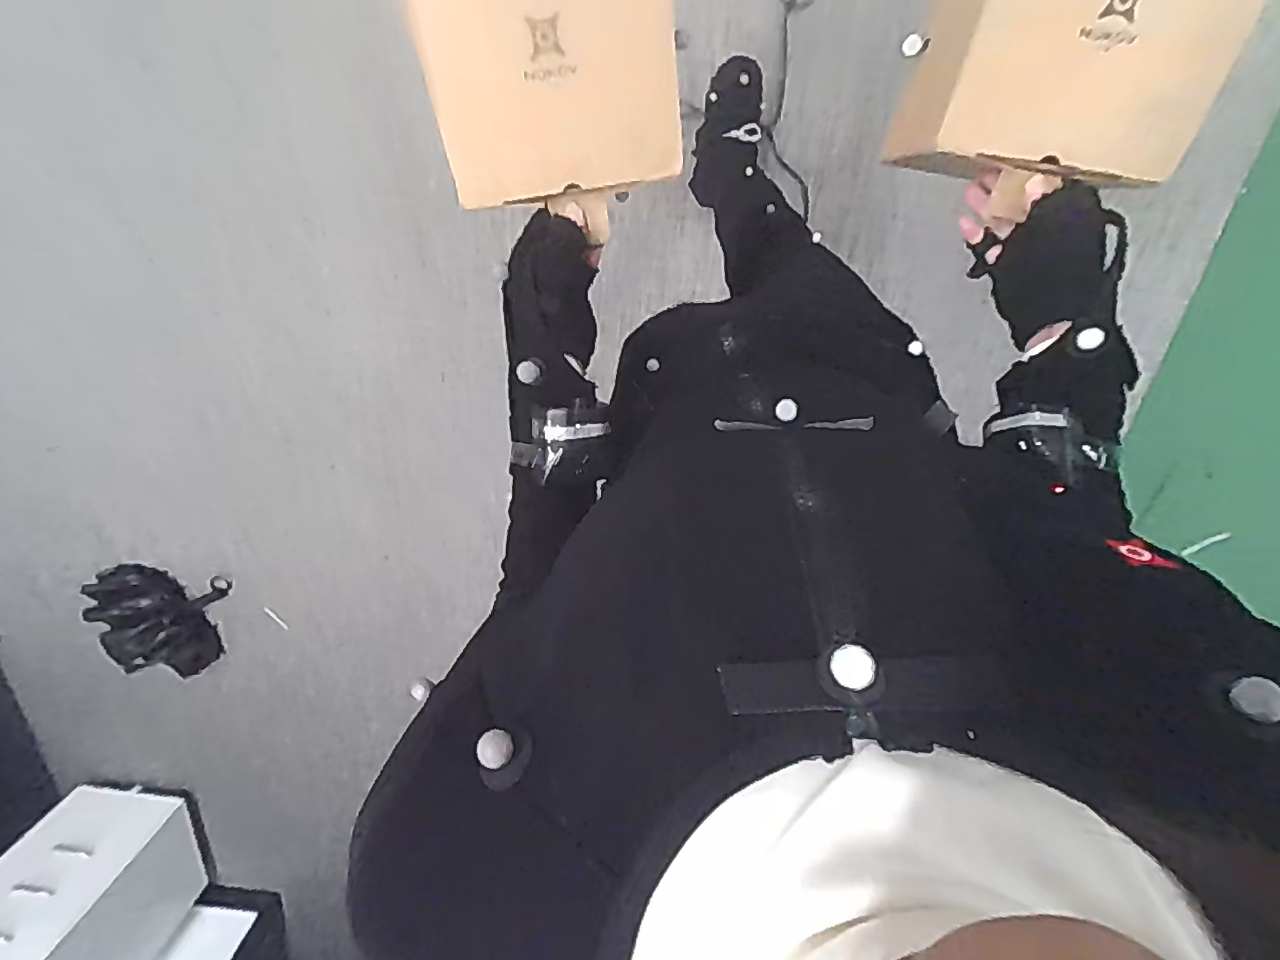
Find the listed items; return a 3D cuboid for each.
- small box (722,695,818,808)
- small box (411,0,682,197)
[{"bbox_3d":[0.309,0.659,1.328,0.179,0.176,0.168,12,110,-2],"label":"small box"},{"bbox_3d":[-0.064,-0.332,0.415,0.168,0.176,0.179,-9,121,1],"label":"small box"}]
